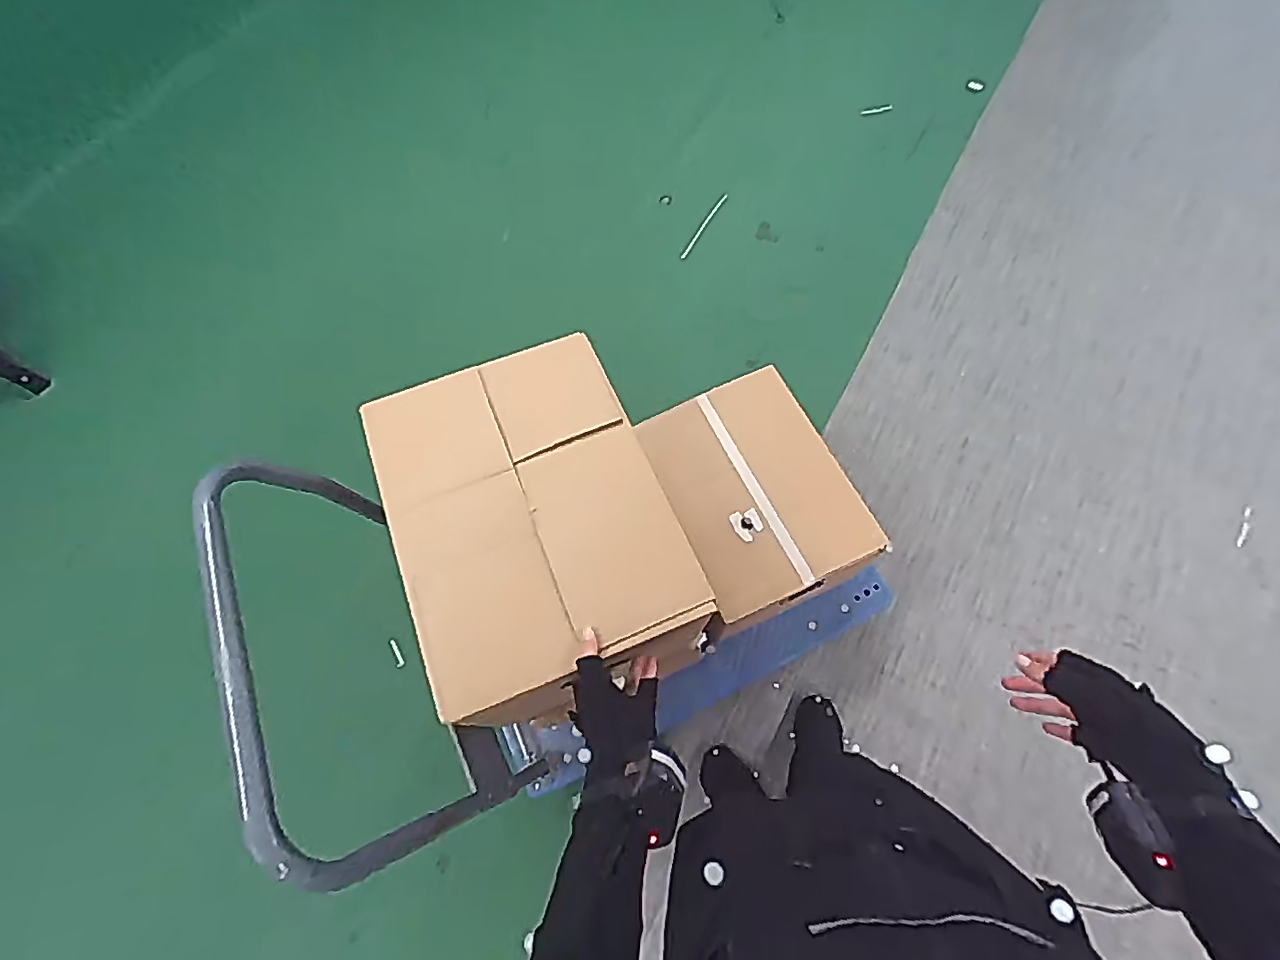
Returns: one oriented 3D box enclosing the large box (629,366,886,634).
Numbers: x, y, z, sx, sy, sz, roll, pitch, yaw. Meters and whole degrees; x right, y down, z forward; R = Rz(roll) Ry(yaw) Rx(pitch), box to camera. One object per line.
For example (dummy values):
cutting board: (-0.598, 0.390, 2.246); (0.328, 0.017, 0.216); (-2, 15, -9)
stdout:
large box: (0.205, 0.054, 1.104); (0.320, 0.320, 0.408); (-24, 69, -4)
